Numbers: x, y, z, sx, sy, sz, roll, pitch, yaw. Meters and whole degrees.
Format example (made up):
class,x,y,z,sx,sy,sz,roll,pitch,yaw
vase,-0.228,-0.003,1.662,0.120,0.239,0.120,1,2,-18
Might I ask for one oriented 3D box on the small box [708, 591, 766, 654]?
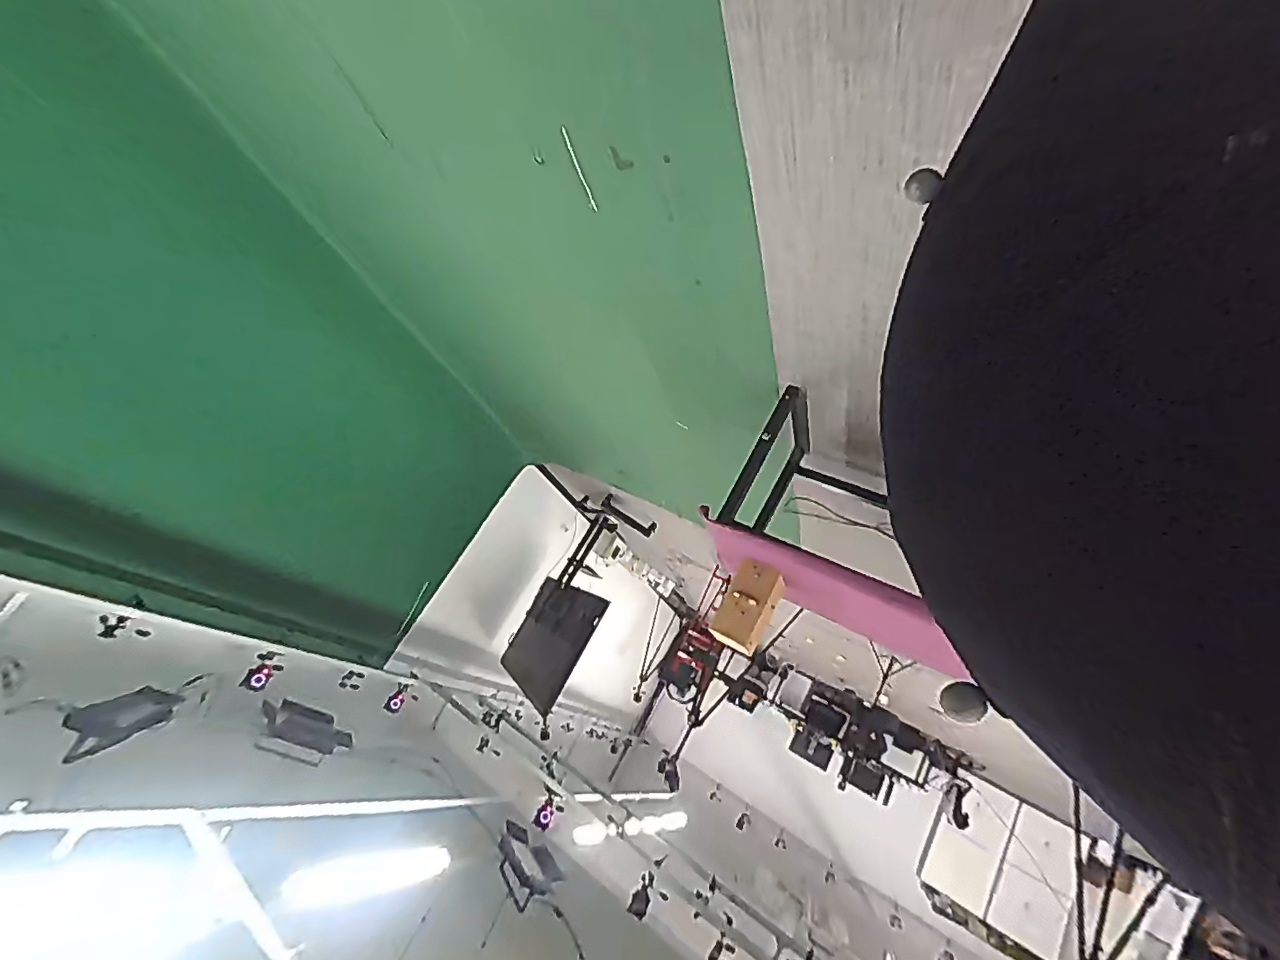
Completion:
class,x,y,z,sx,sy,sz,roll,pitch,yaw
small box,0.402,0.578,2.202,0.168,0.176,0.179,21,160,30

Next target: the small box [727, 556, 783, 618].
class,x,y,z,sx,sy,sz,roll,pitch,yaw
small box,0.483,0.442,2.243,0.168,0.176,0.179,20,160,29
